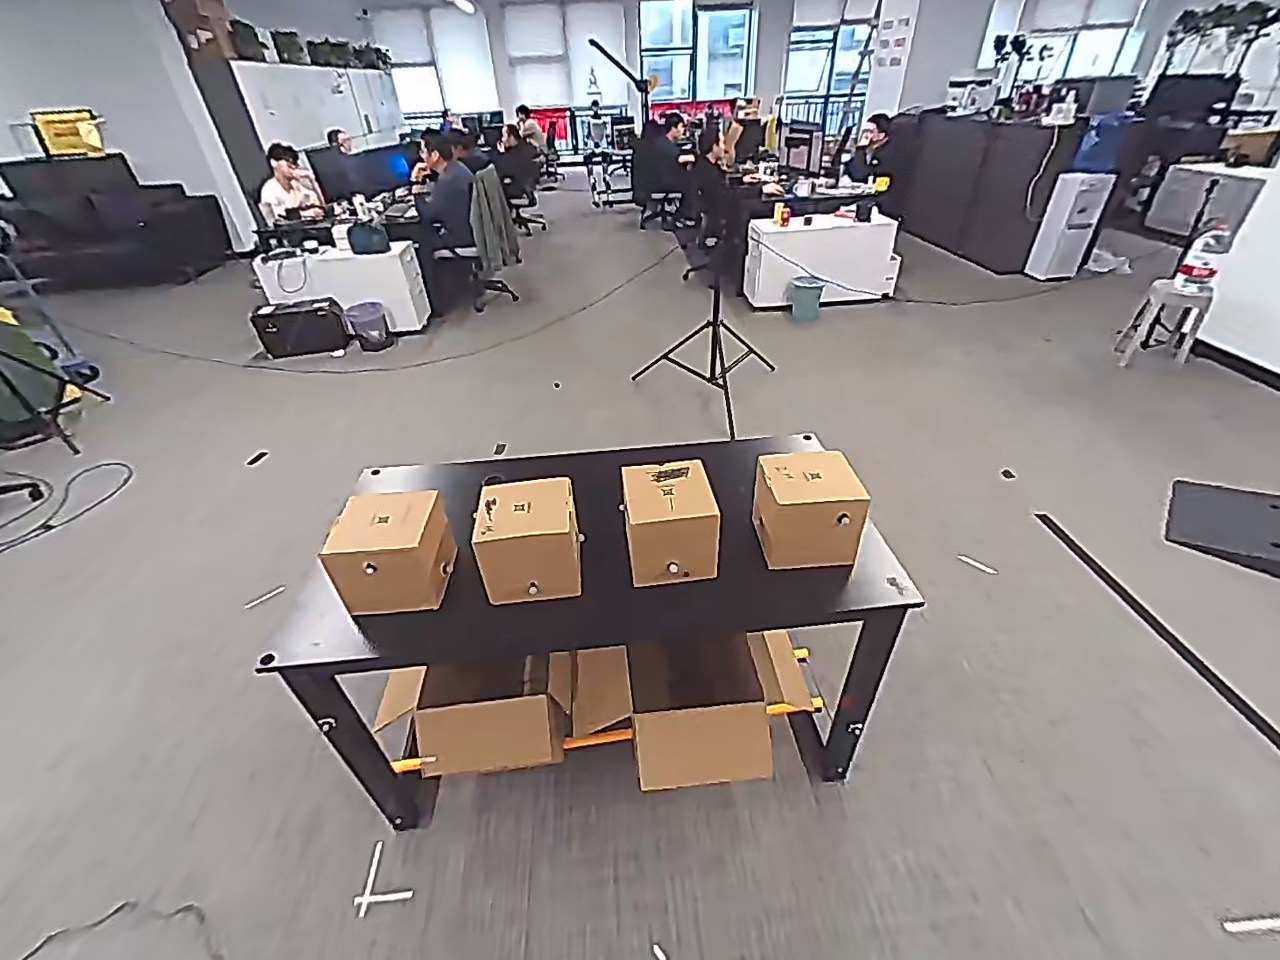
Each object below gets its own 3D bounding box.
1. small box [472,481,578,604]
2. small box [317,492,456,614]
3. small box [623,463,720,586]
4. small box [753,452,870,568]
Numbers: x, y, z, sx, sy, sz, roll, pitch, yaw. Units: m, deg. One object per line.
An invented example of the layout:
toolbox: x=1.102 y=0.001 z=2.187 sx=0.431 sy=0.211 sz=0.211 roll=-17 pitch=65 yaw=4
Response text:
small box: x=-0.212 y=0.121 z=1.053 sx=0.179 sy=0.176 sz=0.168 roll=-5 pitch=36 yaw=-4
small box: x=-0.474 y=0.142 z=1.042 sx=0.179 sy=0.176 sz=0.168 roll=-4 pitch=37 yaw=-3
small box: x=0.057 y=0.087 z=1.080 sx=0.168 sy=0.176 sz=0.179 roll=-6 pitch=37 yaw=-4
small box: x=0.335 y=0.061 z=1.093 sx=0.179 sy=0.176 sz=0.168 roll=-4 pitch=35 yaw=-1
